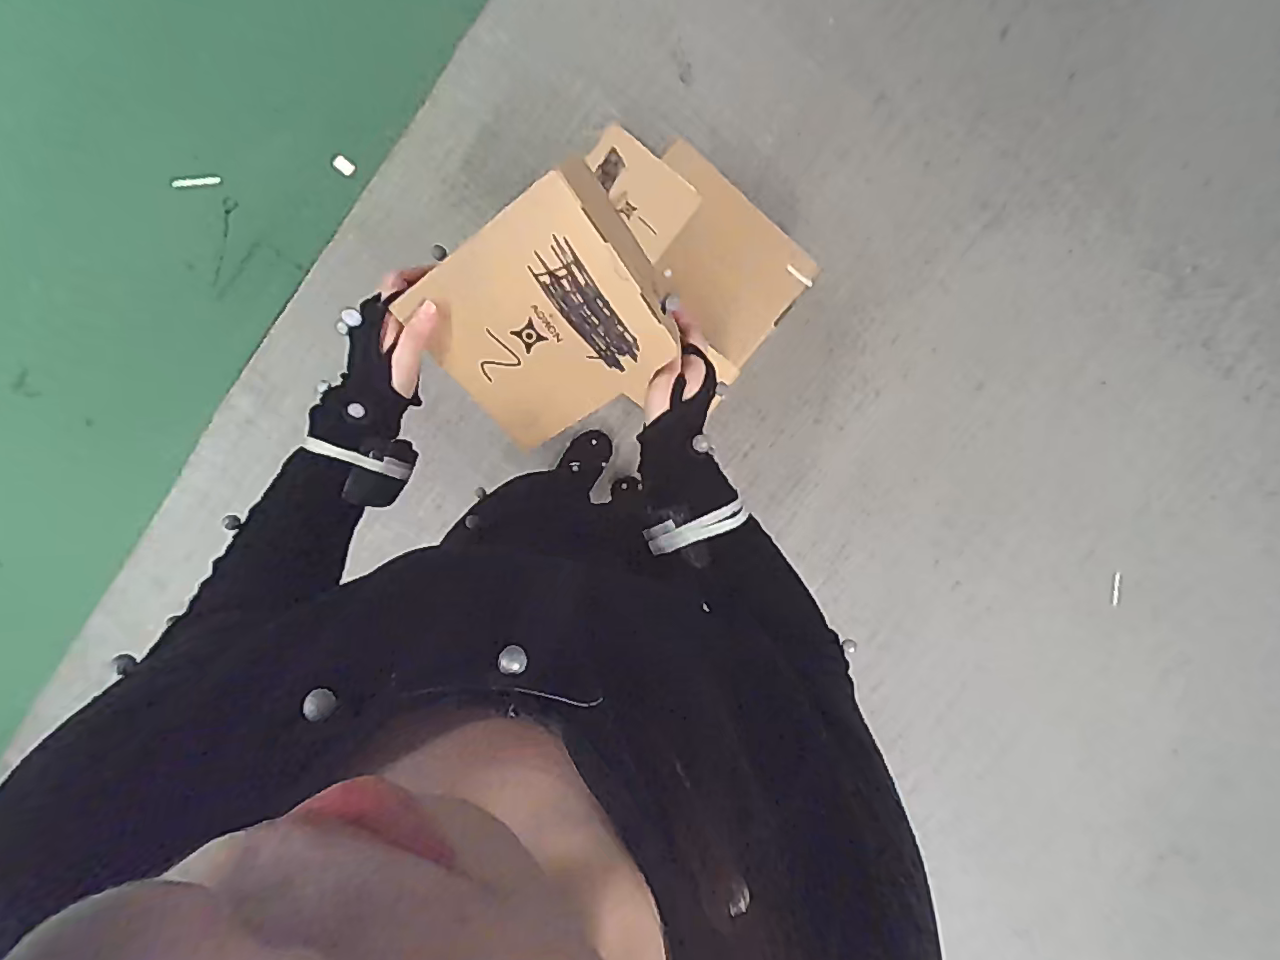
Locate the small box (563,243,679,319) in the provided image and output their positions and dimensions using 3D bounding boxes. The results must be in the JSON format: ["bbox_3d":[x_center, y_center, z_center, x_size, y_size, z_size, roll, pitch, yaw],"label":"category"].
[{"bbox_3d":[-0.026,-0.437,1.035,0.168,0.176,0.179,39,93,-5],"label":"small box"}]

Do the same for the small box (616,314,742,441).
[{"bbox_3d":[0.070,-0.198,1.068,0.179,0.176,0.168,37,94,-6],"label":"small box"}]

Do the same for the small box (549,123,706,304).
[{"bbox_3d":[-0.020,-0.411,0.871,0.179,0.176,0.168,39,94,-5],"label":"small box"}]
